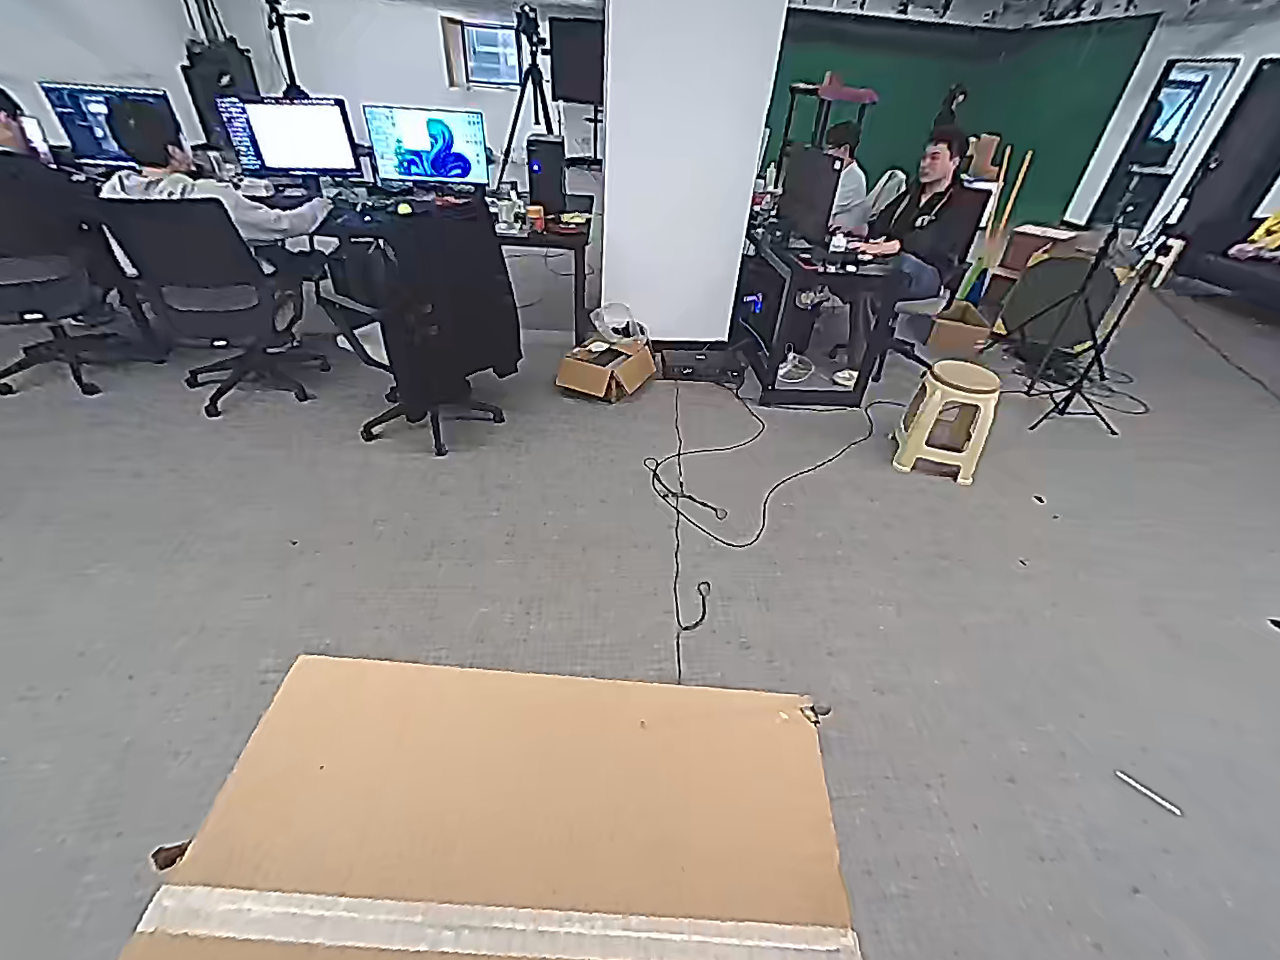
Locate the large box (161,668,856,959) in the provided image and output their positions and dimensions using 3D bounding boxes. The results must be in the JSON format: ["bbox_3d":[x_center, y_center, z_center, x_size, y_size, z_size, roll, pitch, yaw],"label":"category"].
[{"bbox_3d":[-0.081,0.376,0.422,0.408,0.320,0.320,6,44,-2],"label":"large box"}]
